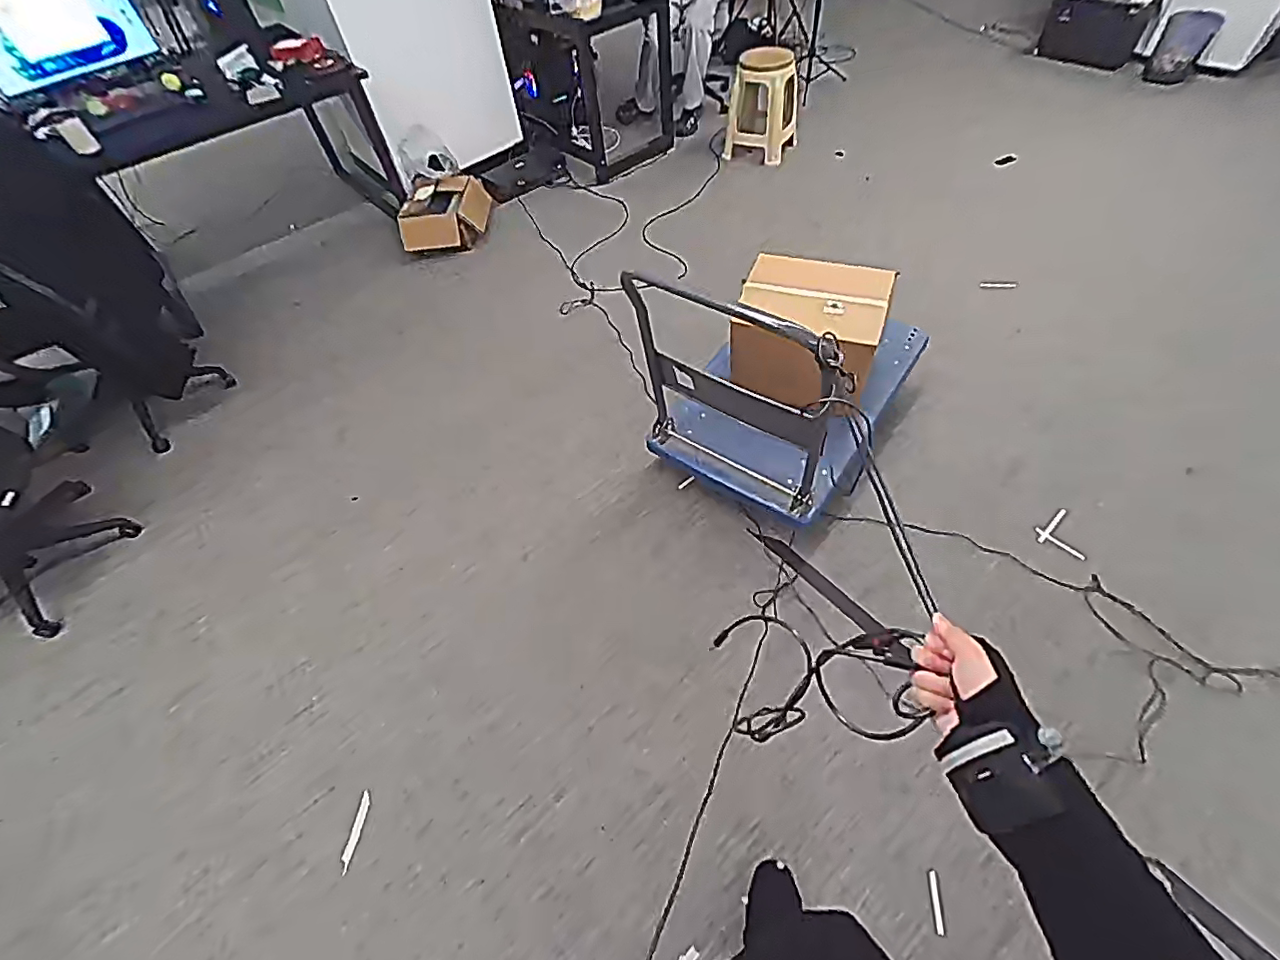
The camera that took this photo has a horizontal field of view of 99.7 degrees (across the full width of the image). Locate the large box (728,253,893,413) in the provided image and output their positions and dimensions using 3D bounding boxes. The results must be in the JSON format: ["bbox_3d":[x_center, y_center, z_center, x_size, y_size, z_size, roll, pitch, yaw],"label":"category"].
[{"bbox_3d":[0.505,-0.448,1.658,0.408,0.320,0.320,16,63,17],"label":"large box"}]
